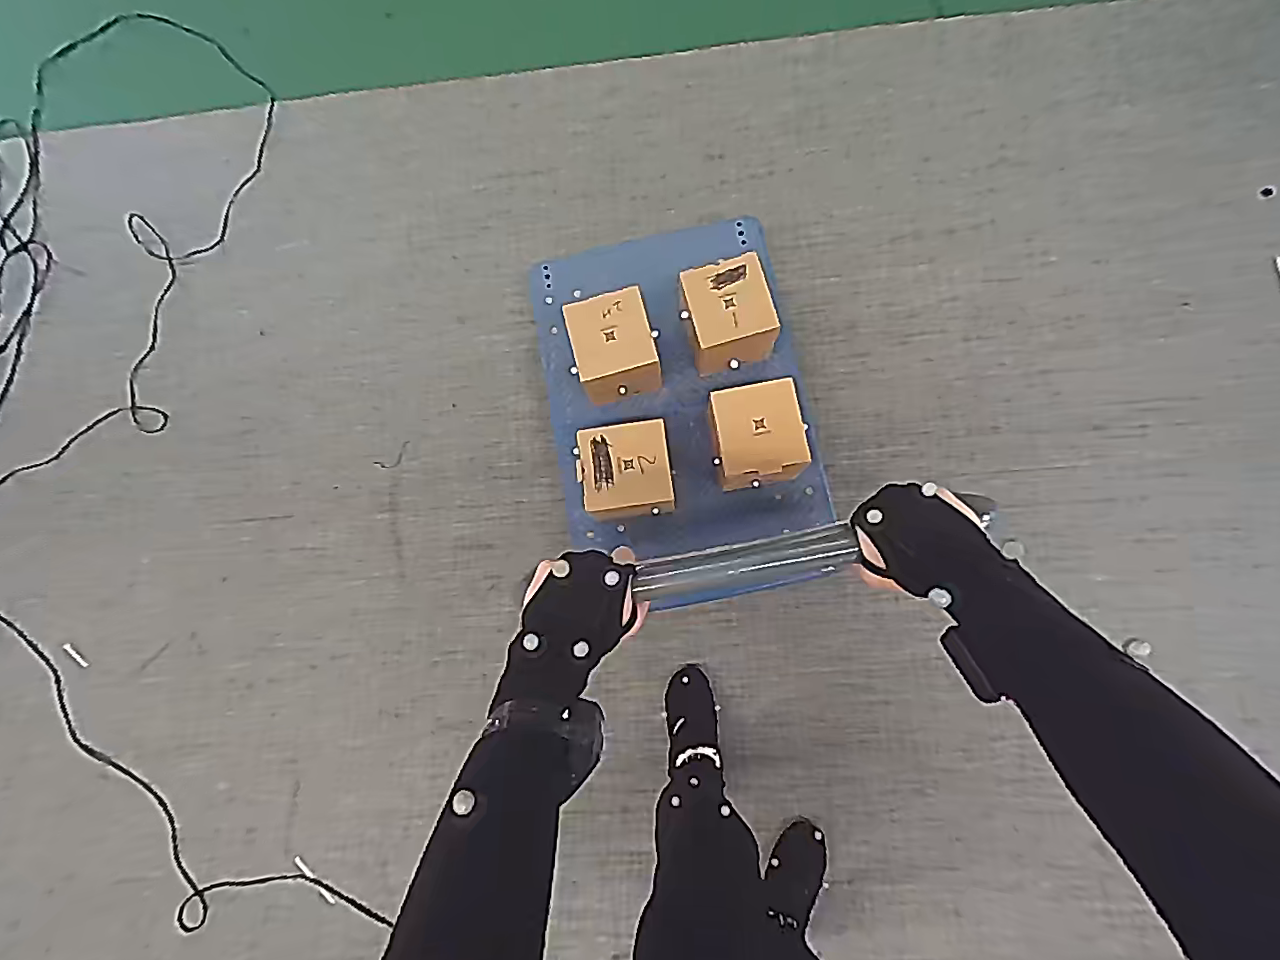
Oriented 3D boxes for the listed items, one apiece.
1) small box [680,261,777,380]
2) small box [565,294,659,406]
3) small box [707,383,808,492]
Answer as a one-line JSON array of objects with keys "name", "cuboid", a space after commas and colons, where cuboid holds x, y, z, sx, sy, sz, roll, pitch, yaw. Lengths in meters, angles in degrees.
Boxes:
[{"name": "small box", "cuboid": [0.187, -0.345, 1.195, 0.168, 0.176, 0.179, -15, 80, 3]}, {"name": "small box", "cuboid": [-0.056, -0.277, 1.203, 0.168, 0.176, 0.179, -15, 79, 1]}, {"name": "small box", "cuboid": [0.239, -0.084, 1.145, 0.168, 0.176, 0.179, -11, 80, 3]}]
